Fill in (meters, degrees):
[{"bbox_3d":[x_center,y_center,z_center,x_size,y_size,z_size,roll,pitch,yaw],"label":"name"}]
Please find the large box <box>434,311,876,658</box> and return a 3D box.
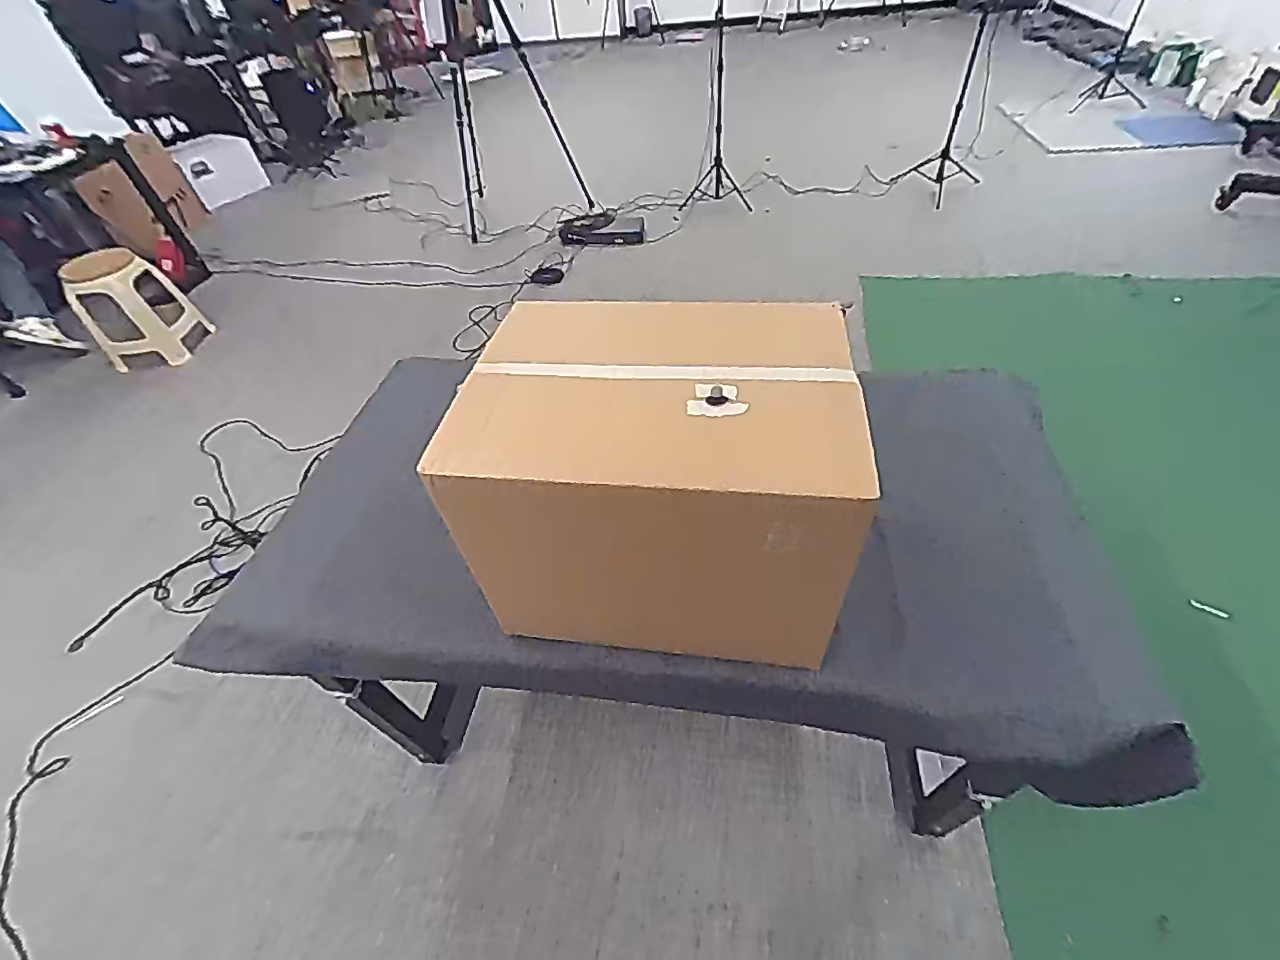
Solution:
[{"bbox_3d":[0.029,0.000,0.682,0.408,0.320,0.320,3,47,8],"label":"large box"}]
